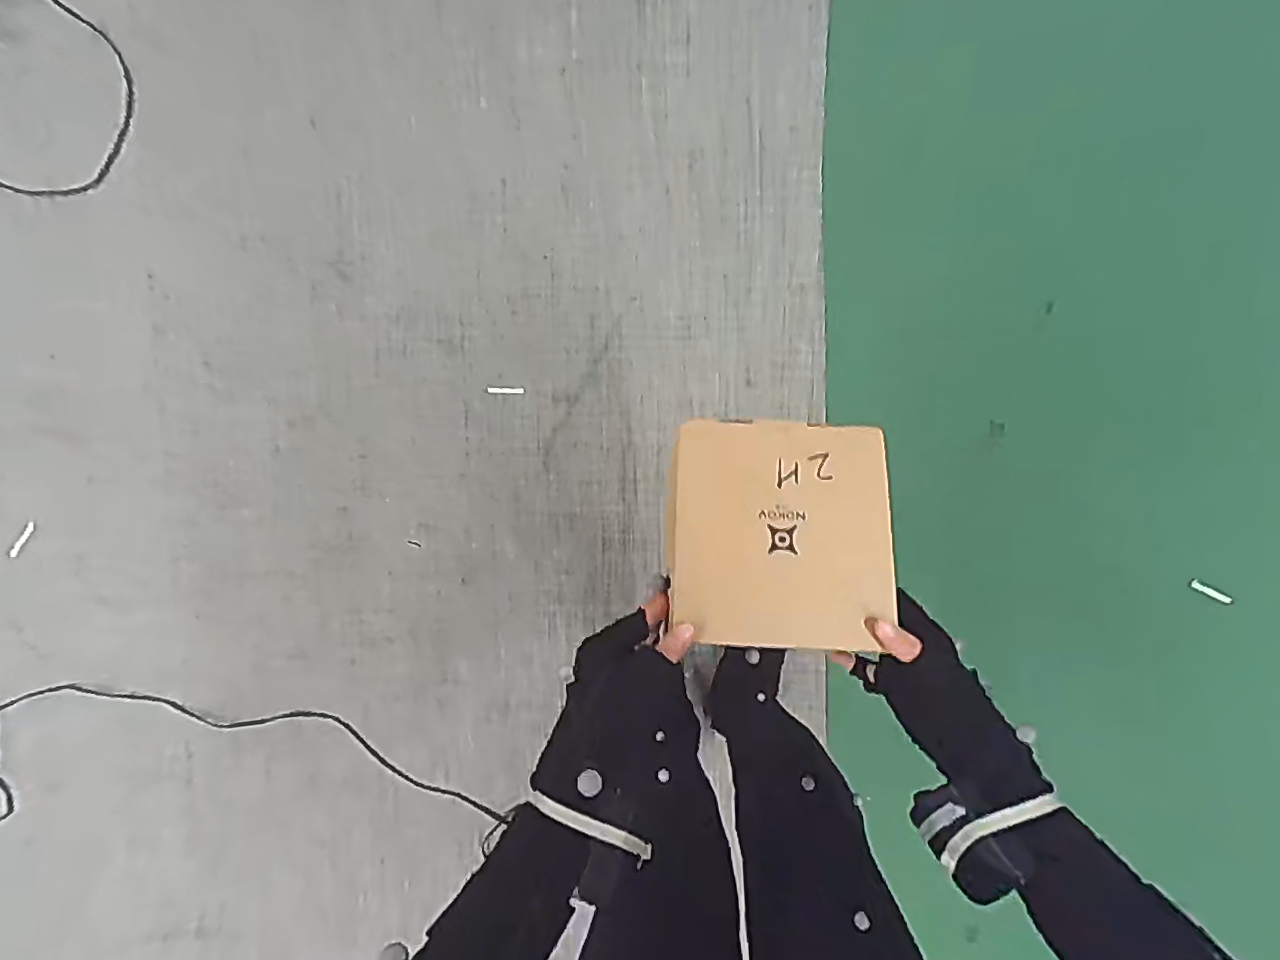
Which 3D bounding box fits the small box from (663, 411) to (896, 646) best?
[{"bbox_3d":[0.109,0.052,0.489,0.168,0.176,0.179,3,75,0],"label":"small box"}]
